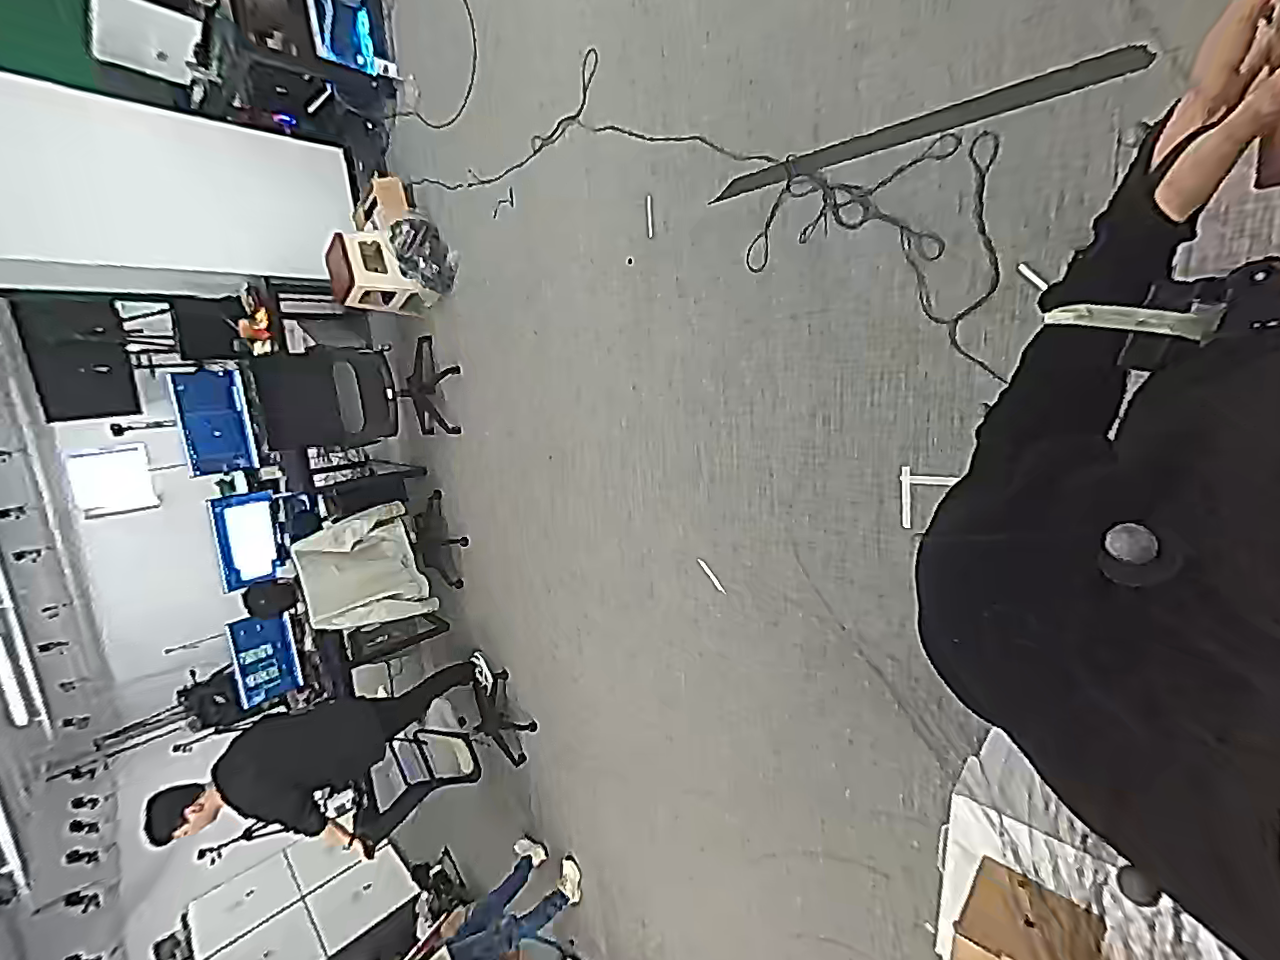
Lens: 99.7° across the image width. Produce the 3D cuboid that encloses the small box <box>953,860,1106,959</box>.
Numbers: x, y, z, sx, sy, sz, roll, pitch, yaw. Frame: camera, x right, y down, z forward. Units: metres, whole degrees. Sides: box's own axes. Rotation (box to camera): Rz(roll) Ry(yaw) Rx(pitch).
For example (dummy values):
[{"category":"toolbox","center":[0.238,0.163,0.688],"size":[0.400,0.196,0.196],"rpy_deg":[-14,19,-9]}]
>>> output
[{"category":"small box","center":[0.590,0.743,0.827],"size":[0.168,0.176,0.179],"rpy_deg":[11,108,44]}]

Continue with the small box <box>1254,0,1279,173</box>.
[{"category":"small box","center":[0.418,-0.269,0.244],"size":[0.168,0.176,0.179],"rpy_deg":[6,105,42]}]
